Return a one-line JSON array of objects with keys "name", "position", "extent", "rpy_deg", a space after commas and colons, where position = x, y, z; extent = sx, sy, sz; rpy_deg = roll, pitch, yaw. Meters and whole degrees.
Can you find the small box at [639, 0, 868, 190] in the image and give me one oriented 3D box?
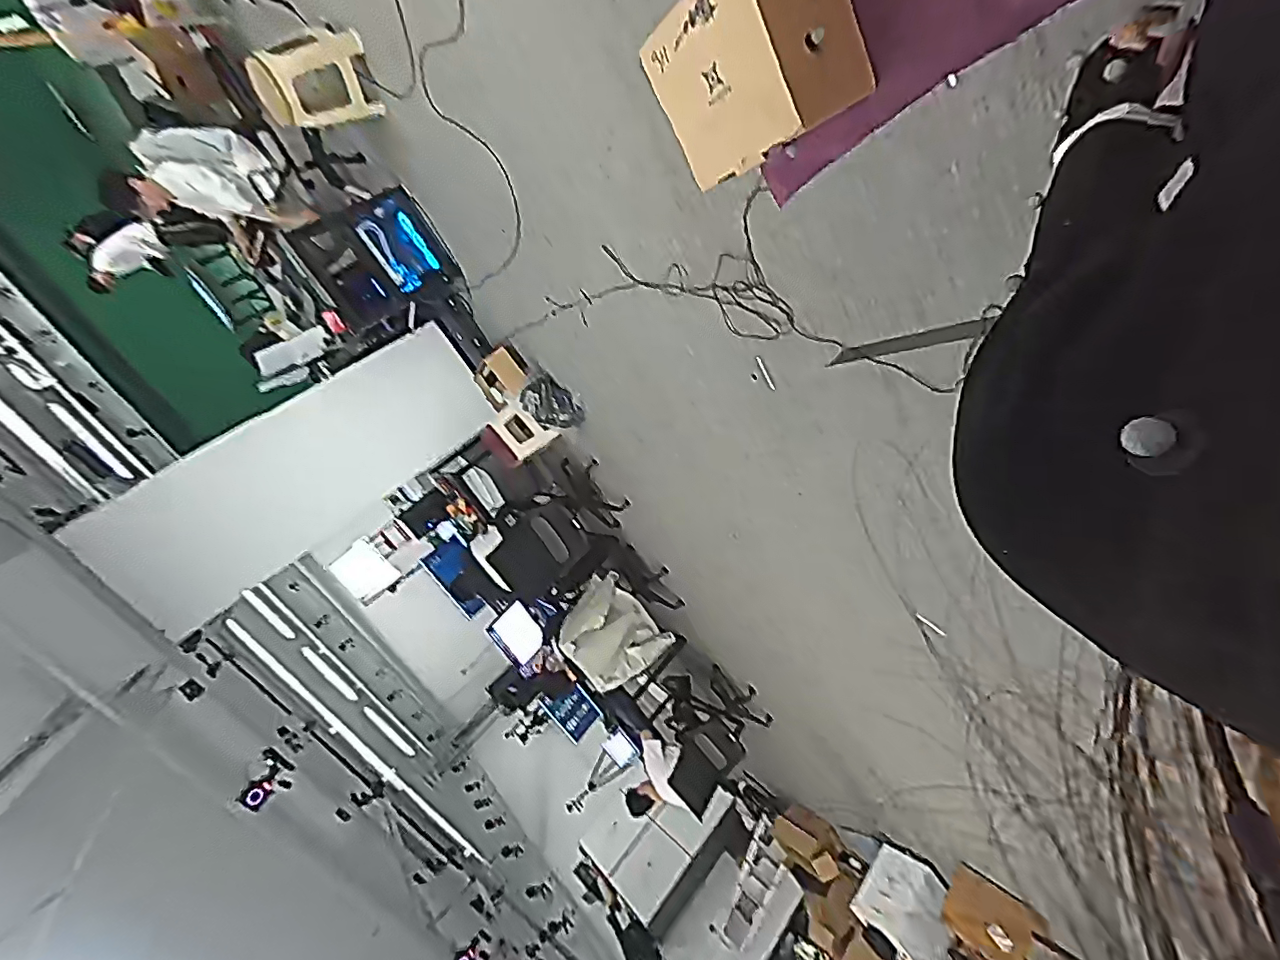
[{"name": "small box", "position": [0.139, -0.491, 0.641], "extent": [0.168, 0.176, 0.179], "rpy_deg": [1, 129, 55]}]
